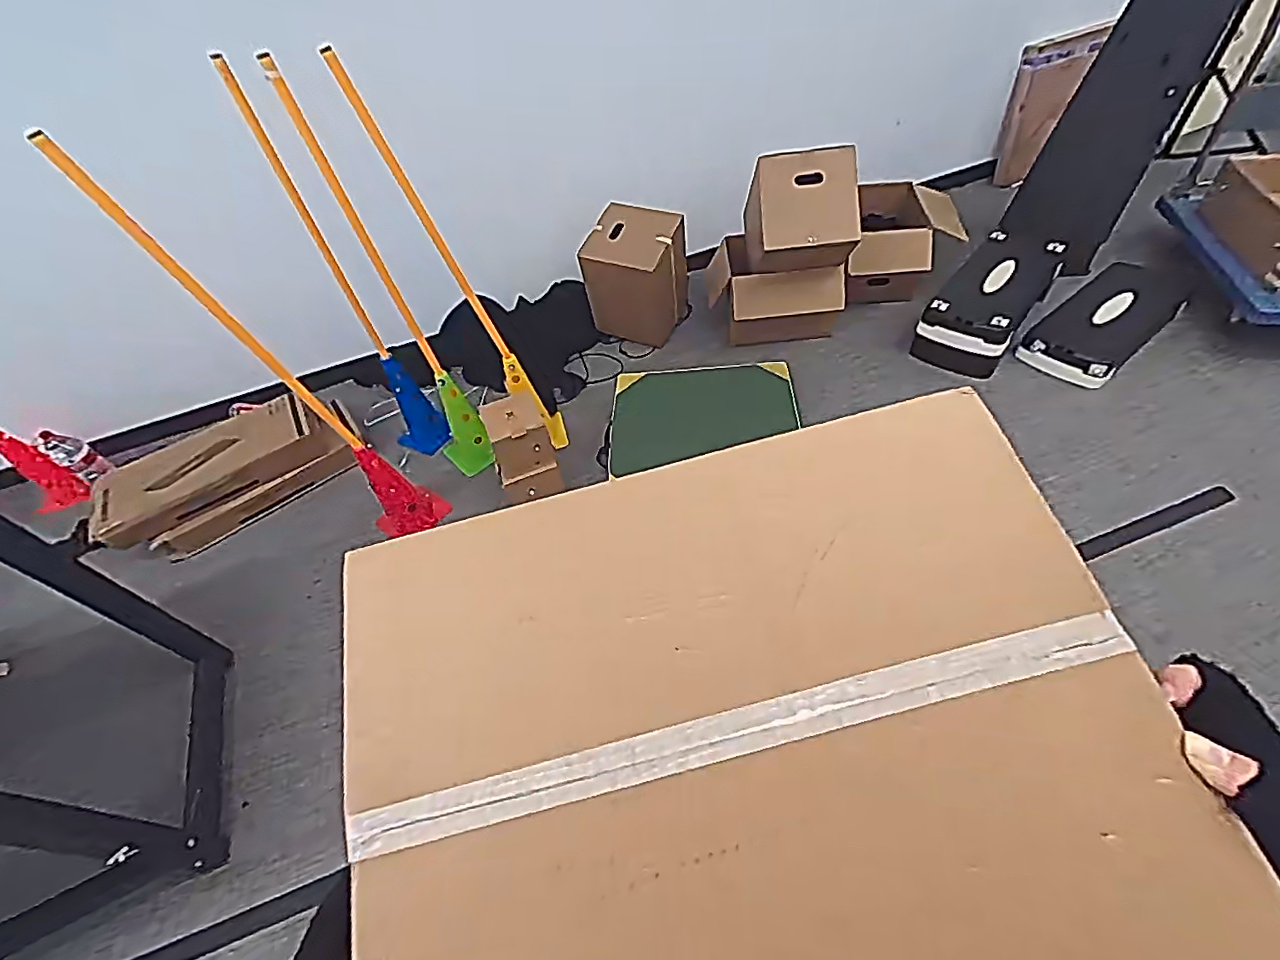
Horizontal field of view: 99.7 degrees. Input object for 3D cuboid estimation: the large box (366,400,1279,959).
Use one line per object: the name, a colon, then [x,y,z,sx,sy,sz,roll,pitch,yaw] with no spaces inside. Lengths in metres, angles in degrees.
large box: [0.066,0.196,0.419,0.408,0.320,0.320,-15,65,0]
